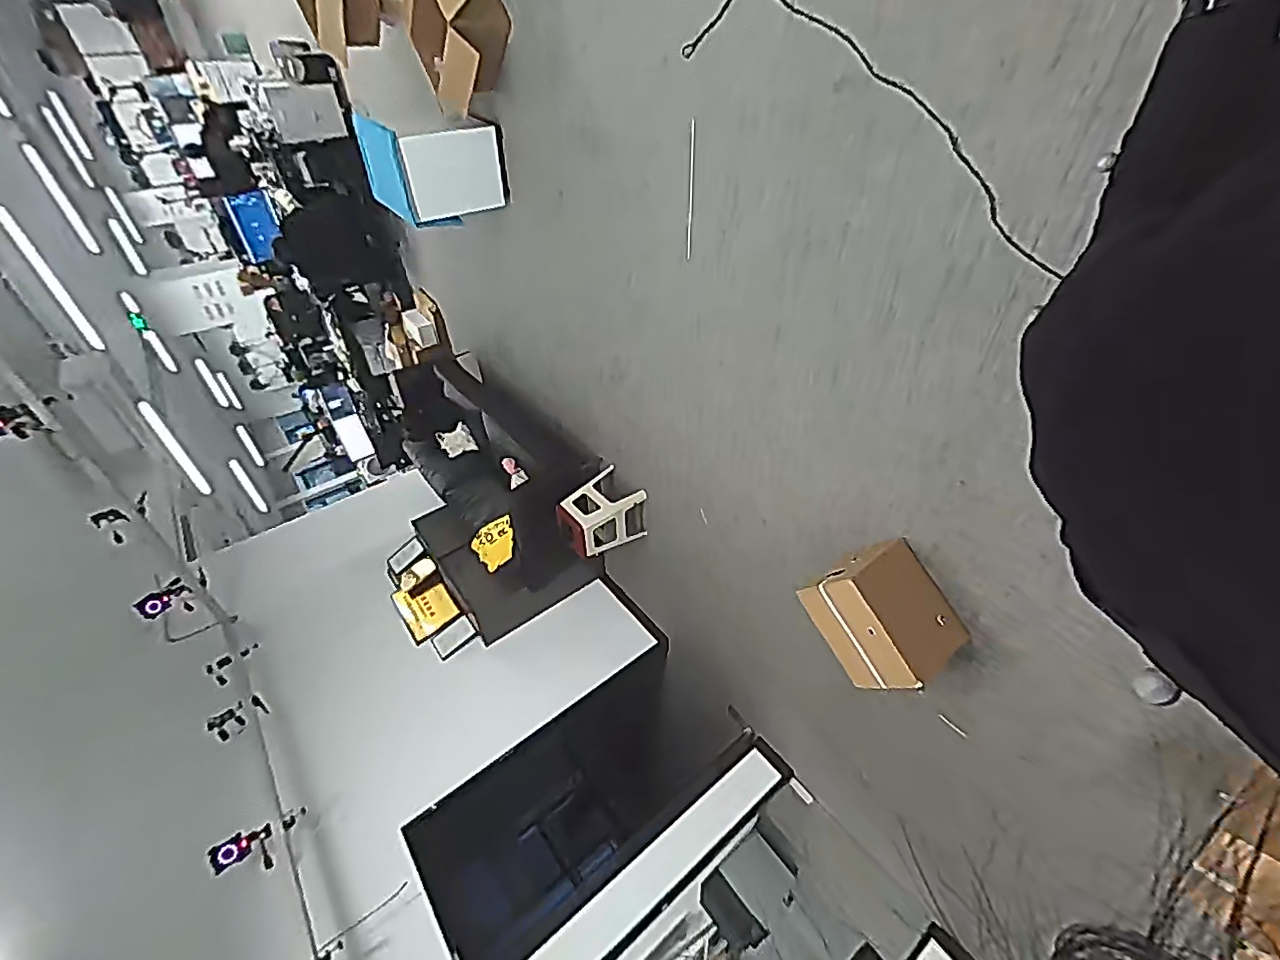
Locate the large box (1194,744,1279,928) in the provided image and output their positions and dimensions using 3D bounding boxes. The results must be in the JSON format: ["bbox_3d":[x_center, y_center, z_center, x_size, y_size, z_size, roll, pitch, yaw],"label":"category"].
[{"bbox_3d":[1.551,0.879,1.164,0.408,0.320,0.320,27,137,47],"label":"large box"}]

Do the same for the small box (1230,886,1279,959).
[{"bbox_3d":[1.340,0.972,1.073,0.179,0.176,0.168,32,138,46],"label":"small box"}]
